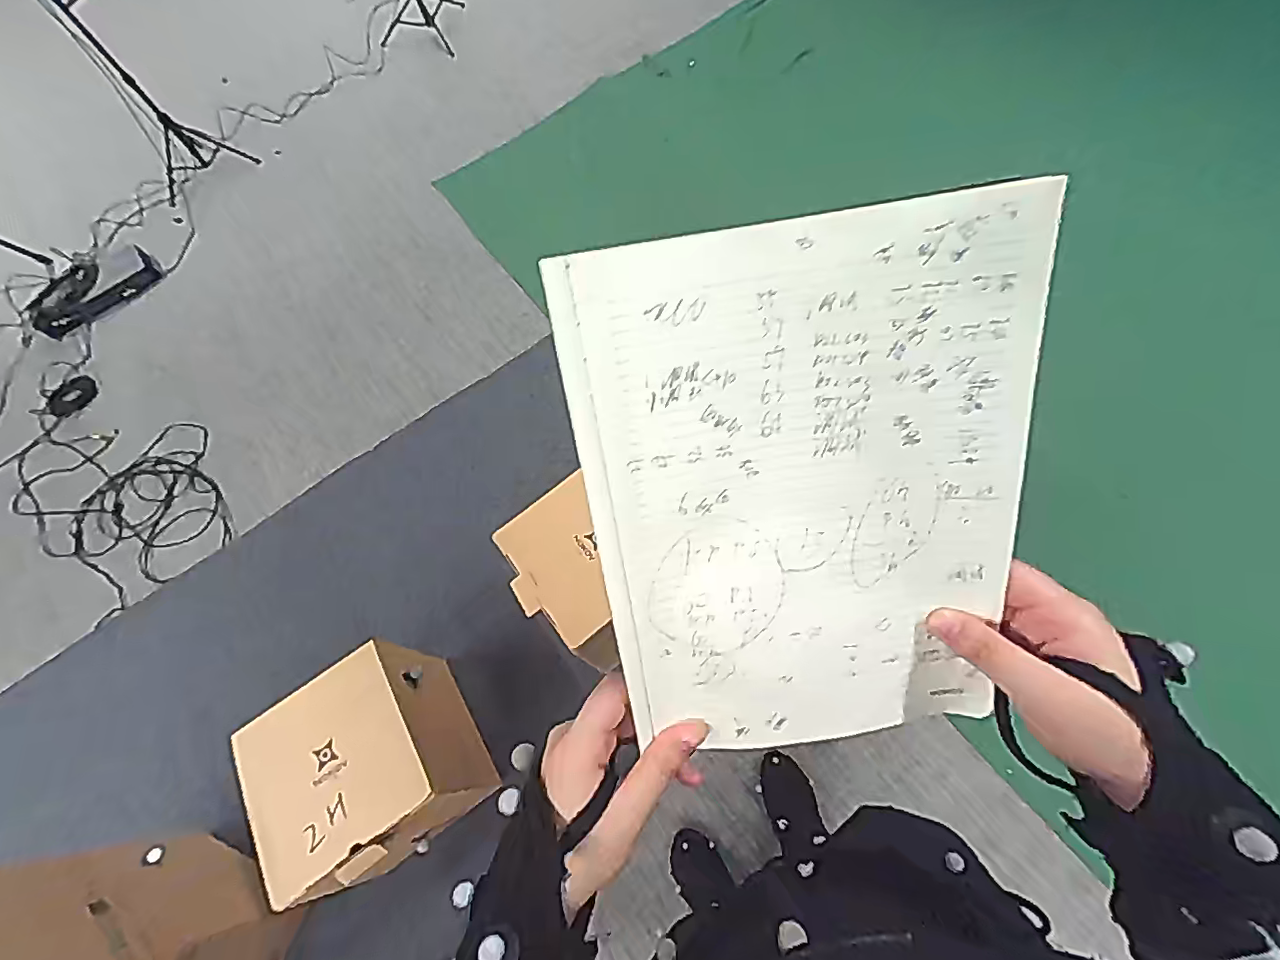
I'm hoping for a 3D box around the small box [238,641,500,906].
[{"bbox_3d":[-0.286,0.310,0.597,0.168,0.176,0.179,-35,63,-7],"label":"small box"}]

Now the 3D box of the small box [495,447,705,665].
[{"bbox_3d":[-0.037,0.099,0.656,0.179,0.176,0.168,-39,64,-9],"label":"small box"}]
